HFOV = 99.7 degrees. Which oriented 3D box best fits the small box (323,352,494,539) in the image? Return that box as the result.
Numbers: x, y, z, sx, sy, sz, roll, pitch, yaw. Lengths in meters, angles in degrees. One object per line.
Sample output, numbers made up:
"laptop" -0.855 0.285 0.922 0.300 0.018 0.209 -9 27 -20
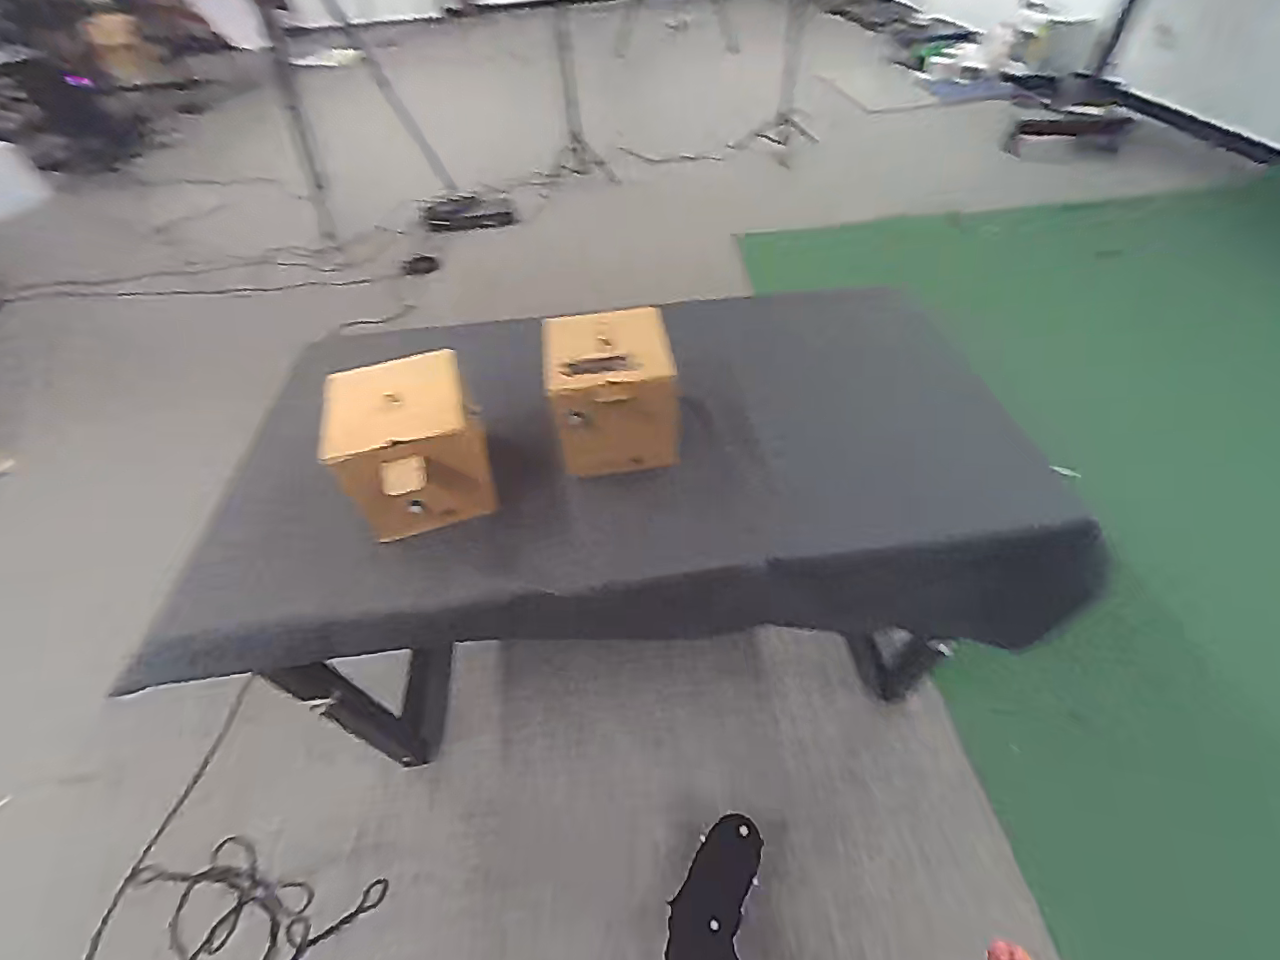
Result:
"small box" -0.314 -0.048 0.756 0.168 0.176 0.179 -16 50 -10
